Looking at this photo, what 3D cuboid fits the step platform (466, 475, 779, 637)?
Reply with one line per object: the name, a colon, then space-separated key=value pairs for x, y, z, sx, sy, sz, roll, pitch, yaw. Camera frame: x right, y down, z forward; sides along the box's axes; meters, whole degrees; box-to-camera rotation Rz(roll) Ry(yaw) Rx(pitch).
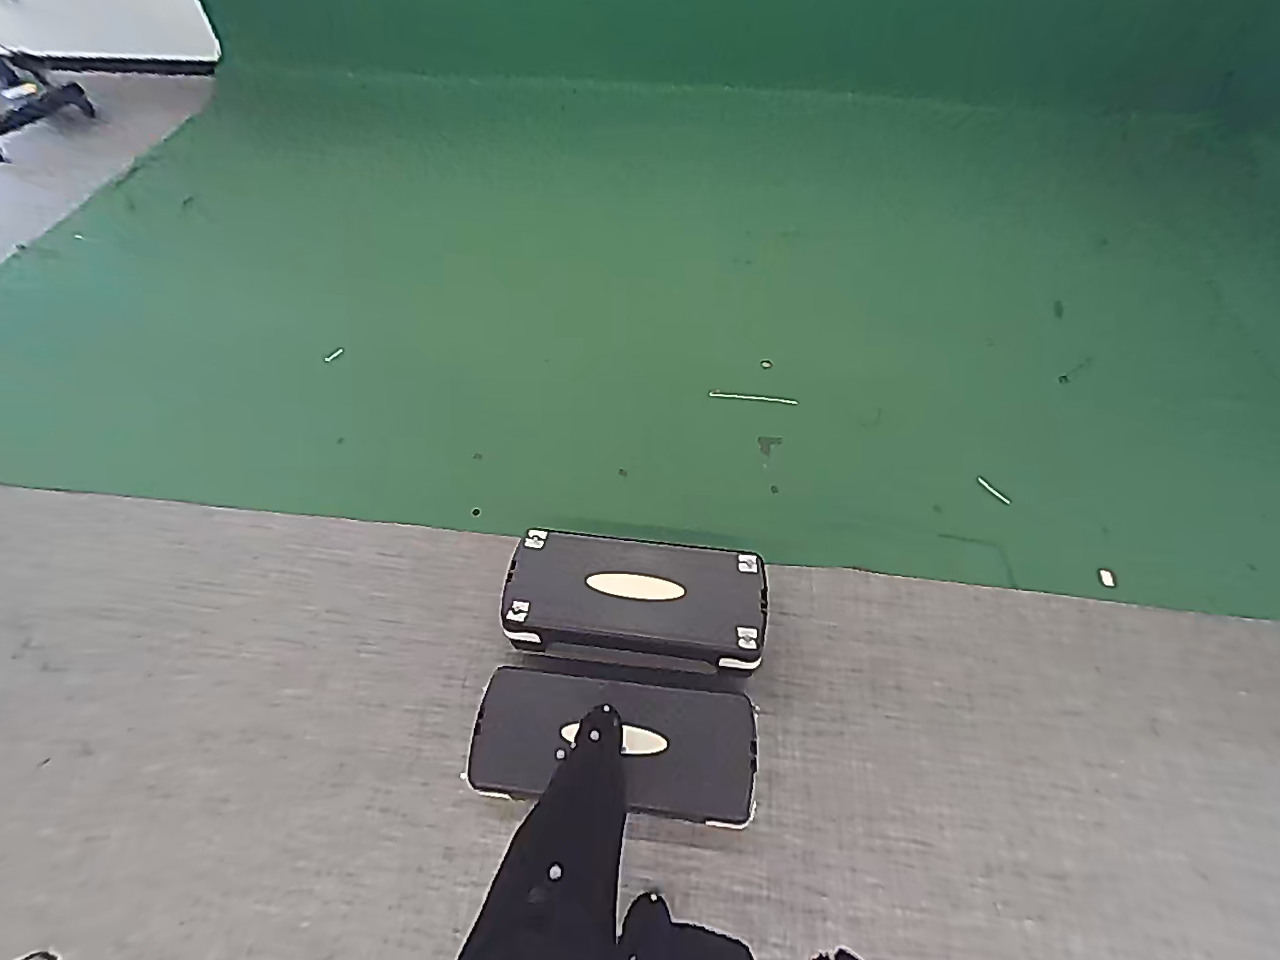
step platform: x=-0.035 y=0.182 z=1.275 sx=0.684 sy=0.204 sz=0.286 roll=5 pitch=57 yaw=5
